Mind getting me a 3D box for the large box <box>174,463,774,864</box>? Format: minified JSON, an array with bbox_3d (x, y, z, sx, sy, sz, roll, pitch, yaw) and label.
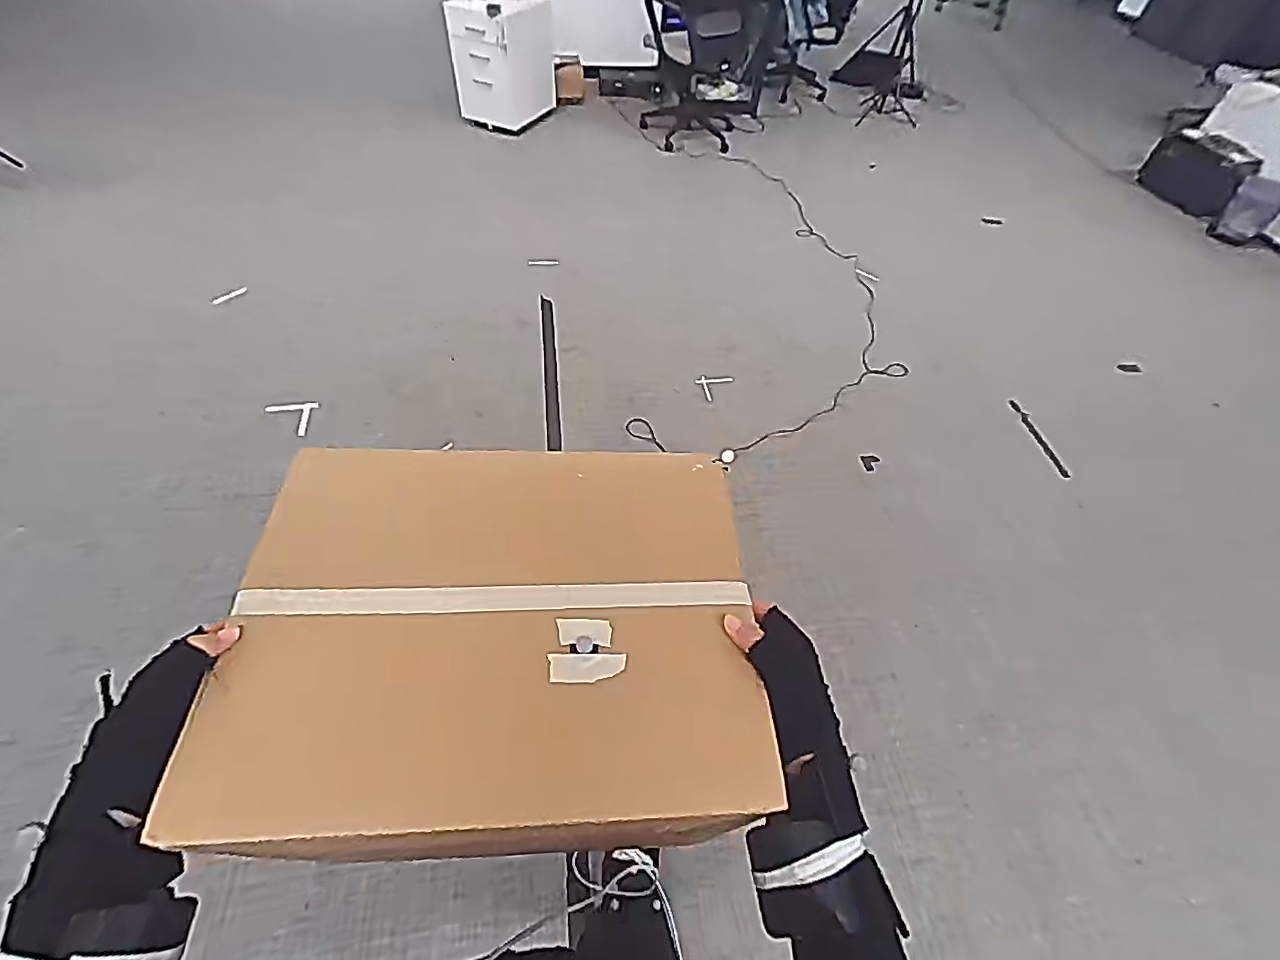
[{"bbox_3d":[-0.124,0.195,0.568,0.408,0.320,0.320,1,54,-6],"label":"large box"}]
